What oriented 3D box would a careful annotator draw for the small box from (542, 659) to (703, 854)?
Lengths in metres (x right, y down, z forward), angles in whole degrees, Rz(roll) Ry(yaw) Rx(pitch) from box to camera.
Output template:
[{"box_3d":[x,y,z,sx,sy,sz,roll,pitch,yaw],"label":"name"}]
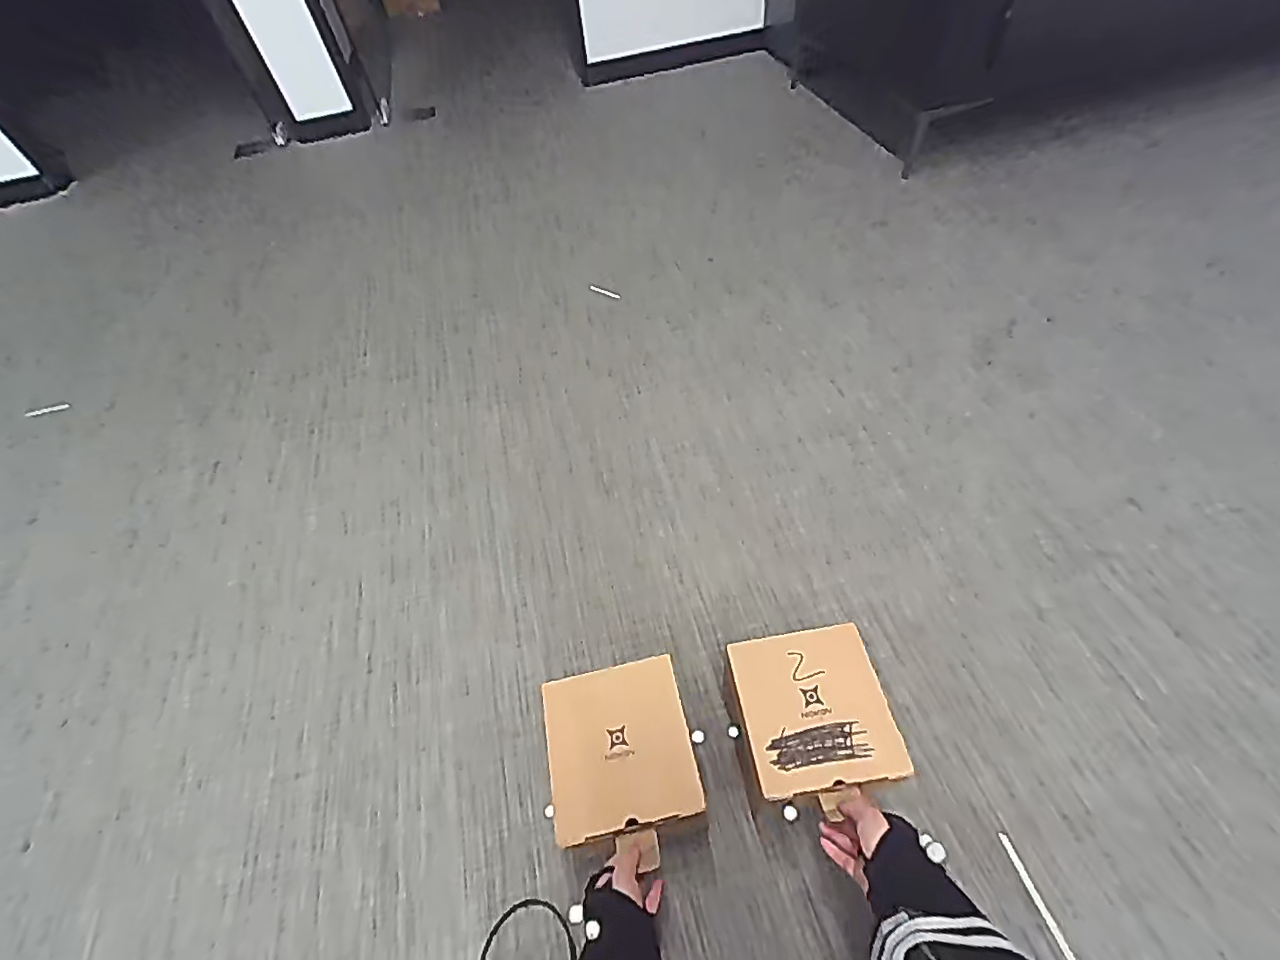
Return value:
[{"box_3d":[-0.021,0.355,0.690,0.168,0.176,0.179,-13,54,-3],"label":"small box"}]
